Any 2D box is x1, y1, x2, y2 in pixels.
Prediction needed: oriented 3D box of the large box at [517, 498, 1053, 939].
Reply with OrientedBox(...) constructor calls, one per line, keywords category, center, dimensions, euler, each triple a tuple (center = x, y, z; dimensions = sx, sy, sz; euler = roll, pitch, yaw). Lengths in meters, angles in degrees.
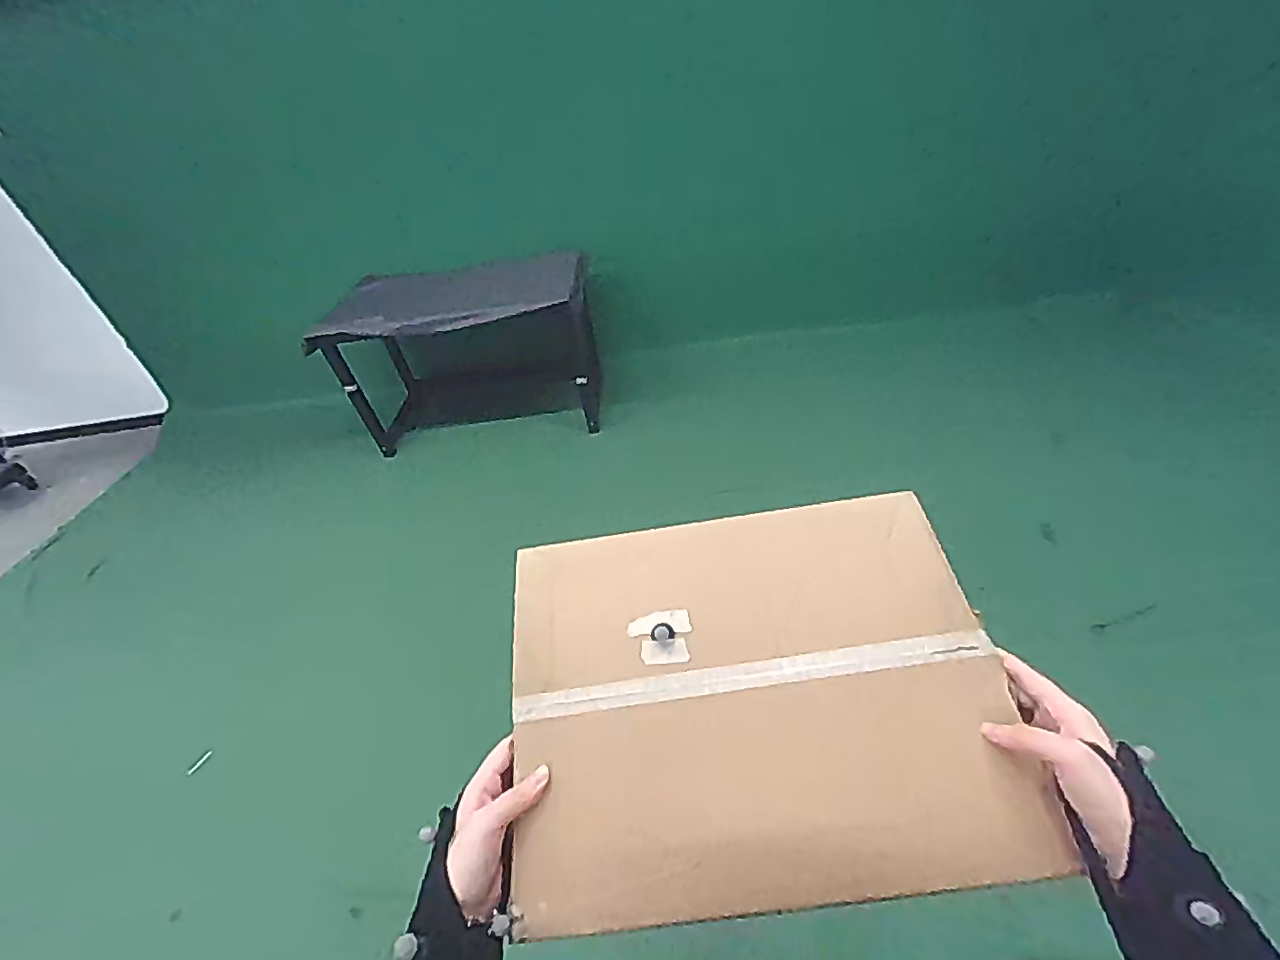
OrientedBox(category="large box", center=(0.108, 0.257, 0.599), dimensions=(0.408, 0.320, 0.320), euler=(-10, 56, 3))
